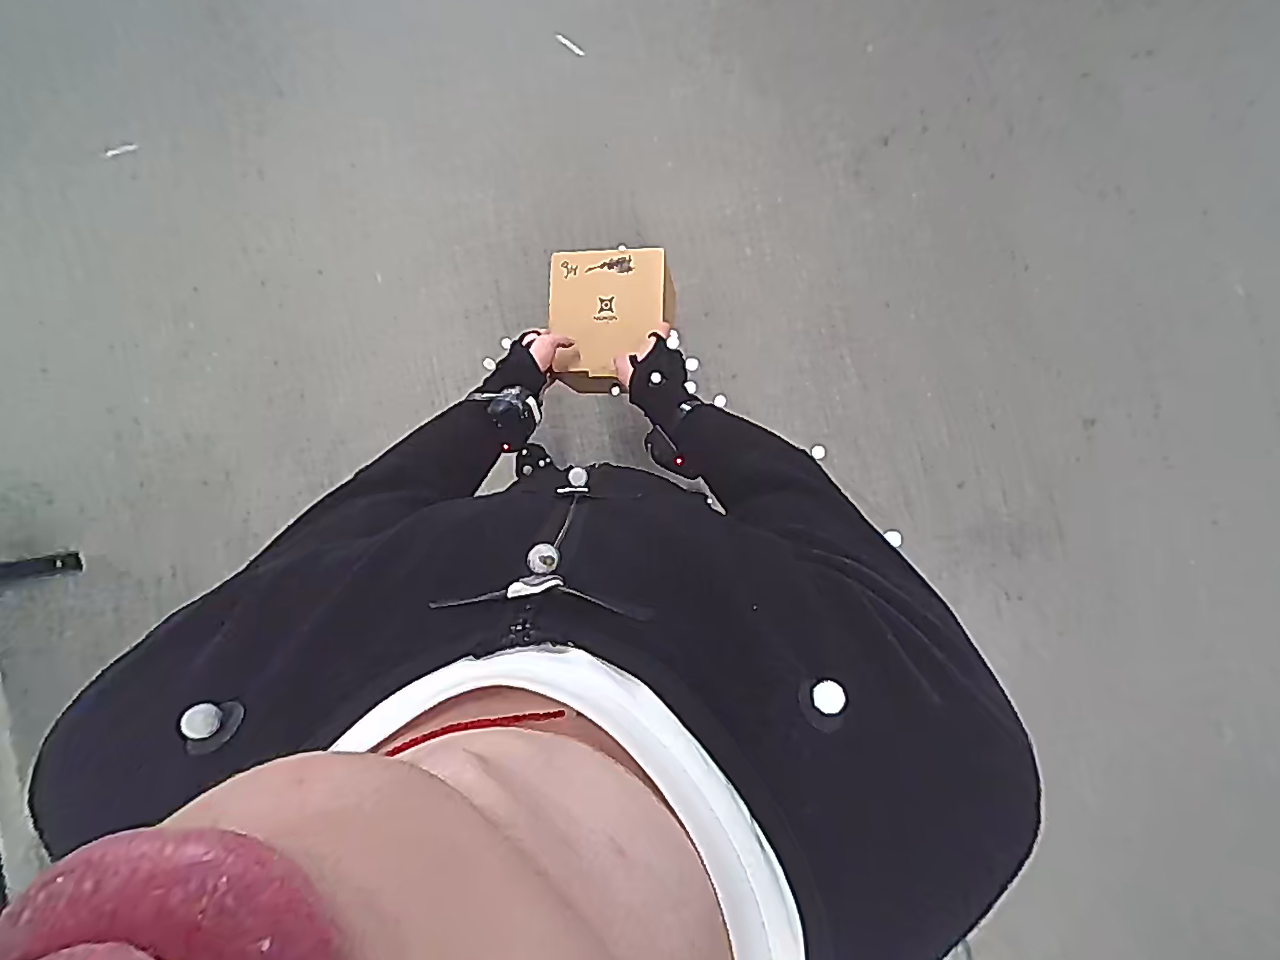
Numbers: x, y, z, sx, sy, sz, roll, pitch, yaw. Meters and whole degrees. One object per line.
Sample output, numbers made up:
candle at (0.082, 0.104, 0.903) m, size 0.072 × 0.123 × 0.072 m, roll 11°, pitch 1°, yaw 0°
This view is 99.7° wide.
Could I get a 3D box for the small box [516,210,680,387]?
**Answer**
small box at (-0.054, -0.263, 0.833) m, size 0.179 × 0.176 × 0.168 m, roll -29°, pitch 84°, yaw 8°
